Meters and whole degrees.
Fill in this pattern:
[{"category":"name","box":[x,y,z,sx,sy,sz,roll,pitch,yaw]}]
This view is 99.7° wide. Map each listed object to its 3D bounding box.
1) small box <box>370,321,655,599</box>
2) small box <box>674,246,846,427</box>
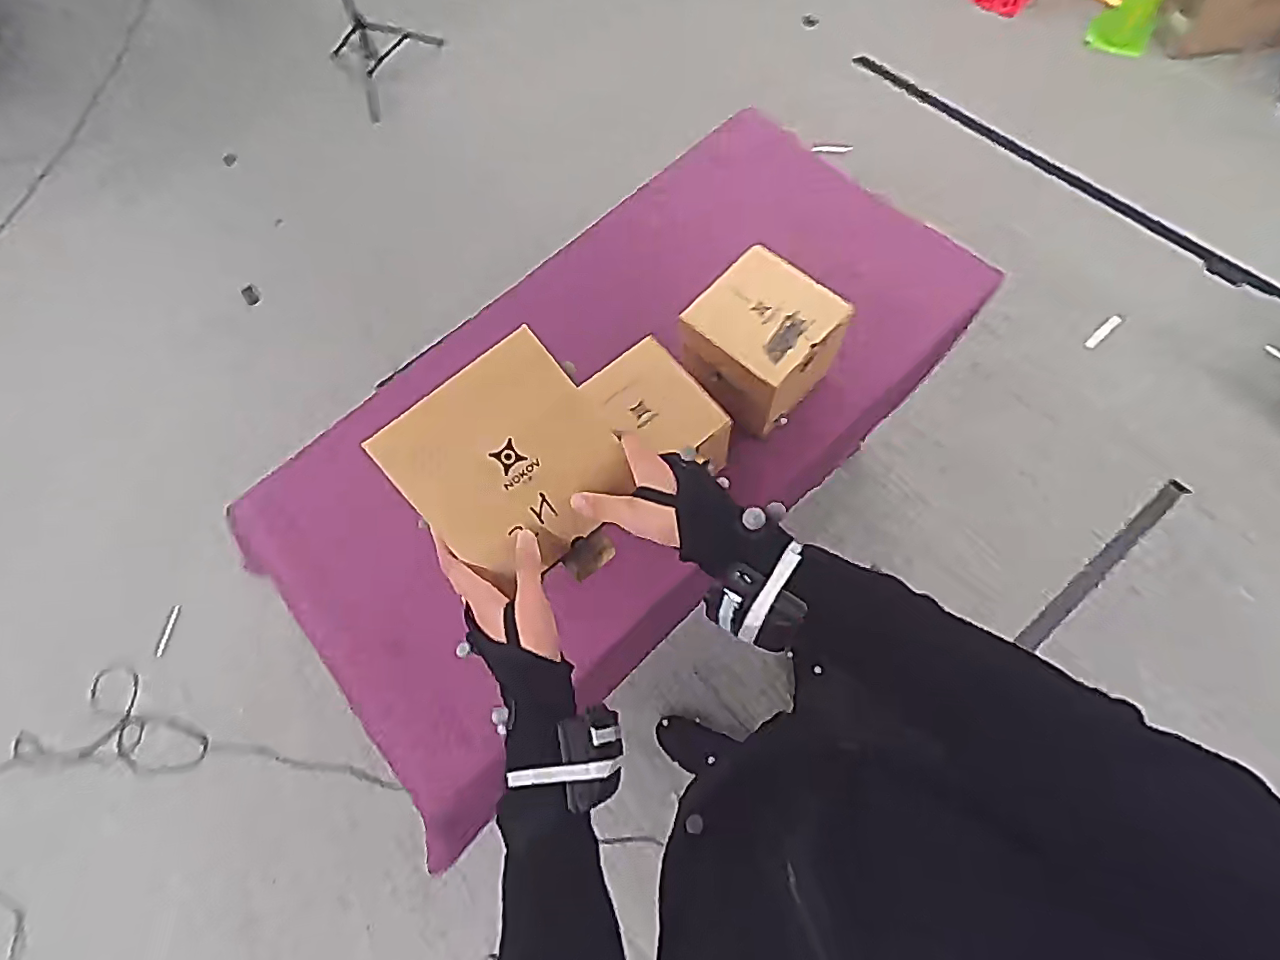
[{"category":"small box","box":[-0.114,-0.016,0.522,0.168,0.176,0.179,-39,97,-7]},{"category":"small box","box":[0.173,-0.203,0.816,0.179,0.176,0.168,41,80,18]}]
